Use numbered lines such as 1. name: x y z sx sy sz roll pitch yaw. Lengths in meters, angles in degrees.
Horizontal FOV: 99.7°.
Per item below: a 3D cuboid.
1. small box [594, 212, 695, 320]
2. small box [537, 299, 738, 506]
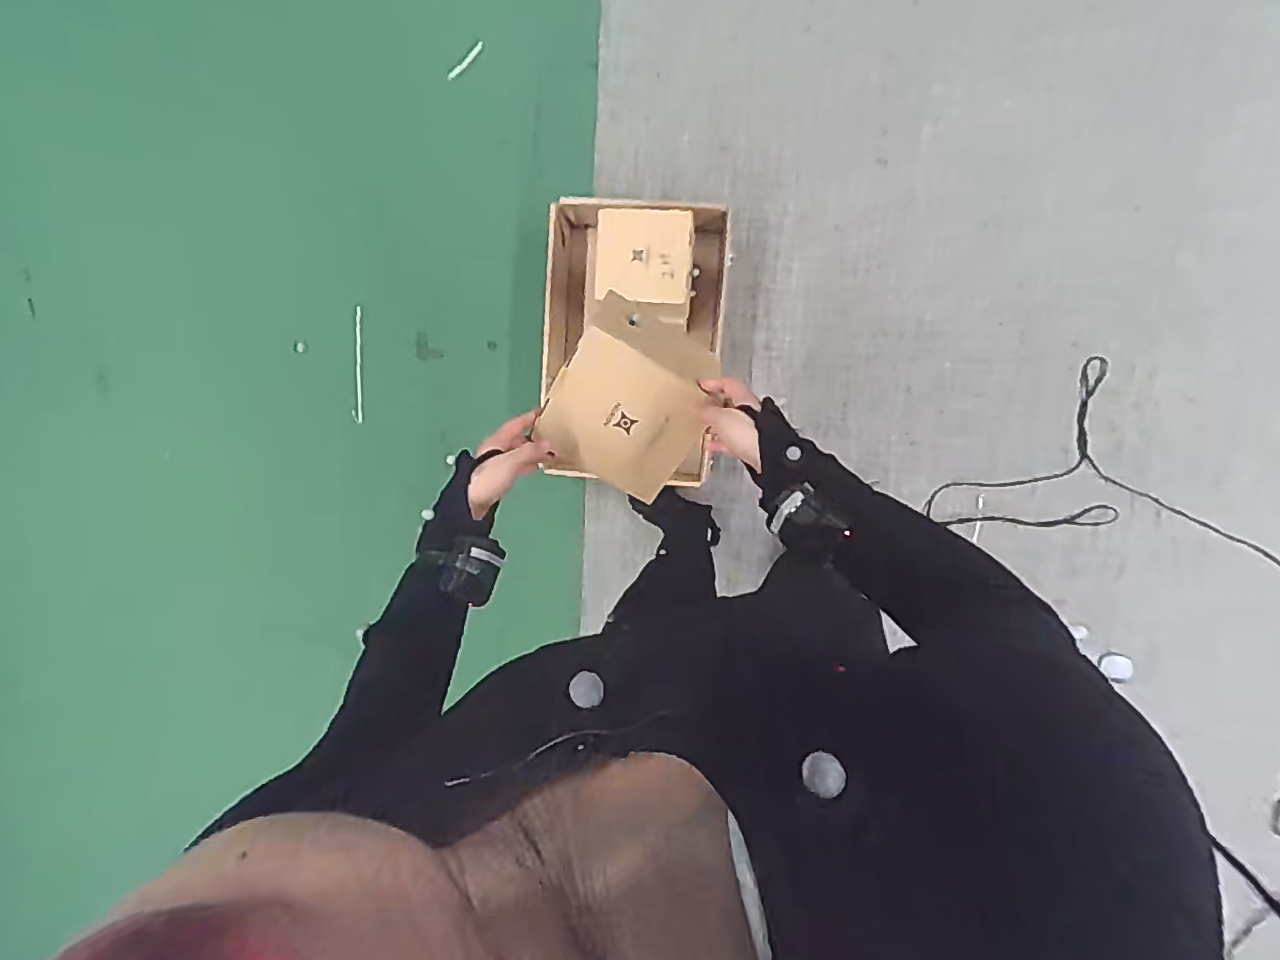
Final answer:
1. small box: 0.013 -0.416 1.073 0.179 0.176 0.168 5 99 6
2. small box: -0.001 -0.105 0.677 0.179 0.176 0.168 29 120 -13
